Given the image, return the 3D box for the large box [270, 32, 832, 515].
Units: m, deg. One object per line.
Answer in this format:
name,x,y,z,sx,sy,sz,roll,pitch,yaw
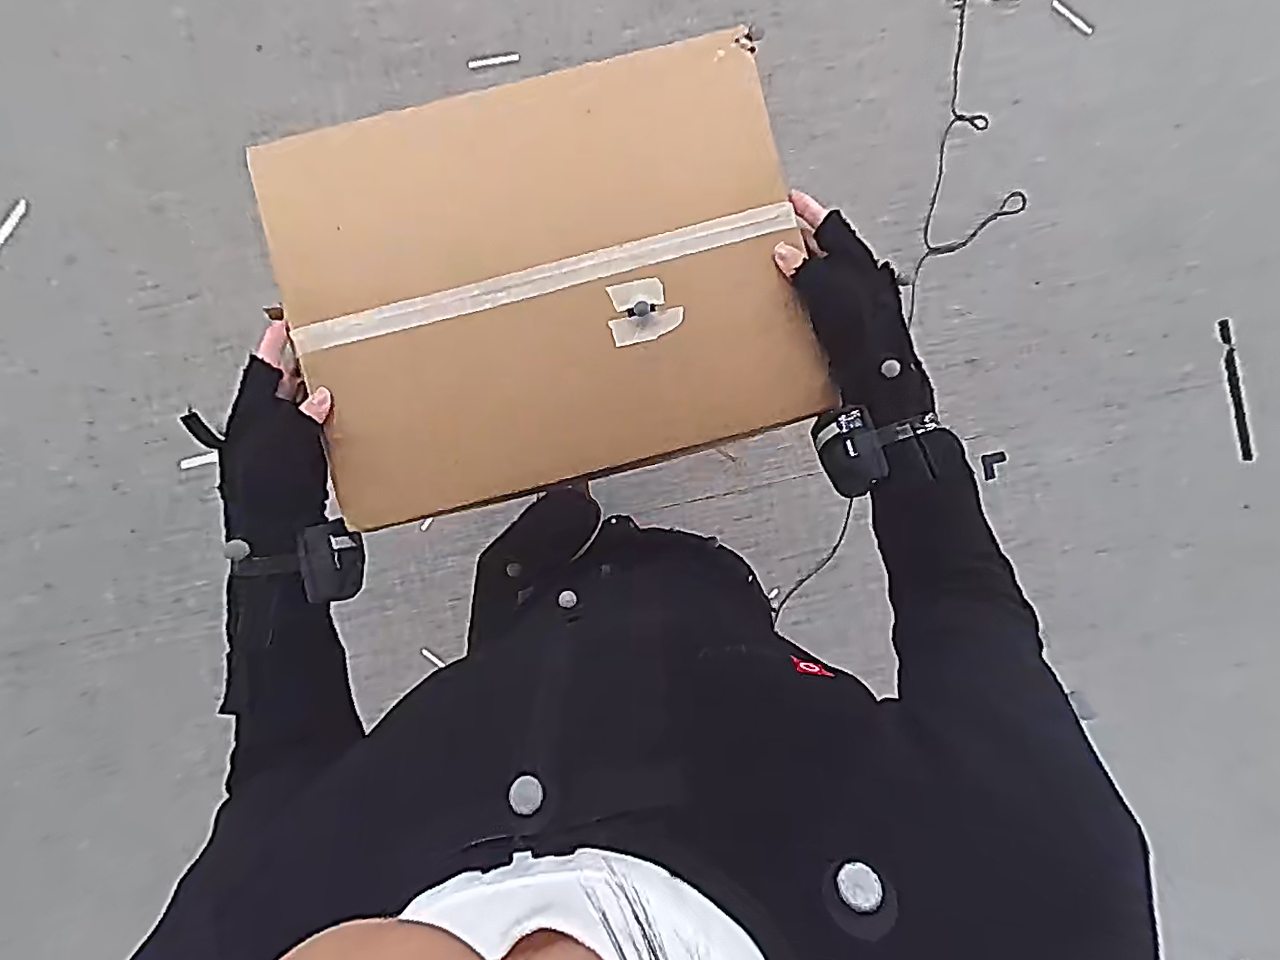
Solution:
large box,-0.075,-0.169,0.588,0.408,0.320,0.320,-15,91,-2
